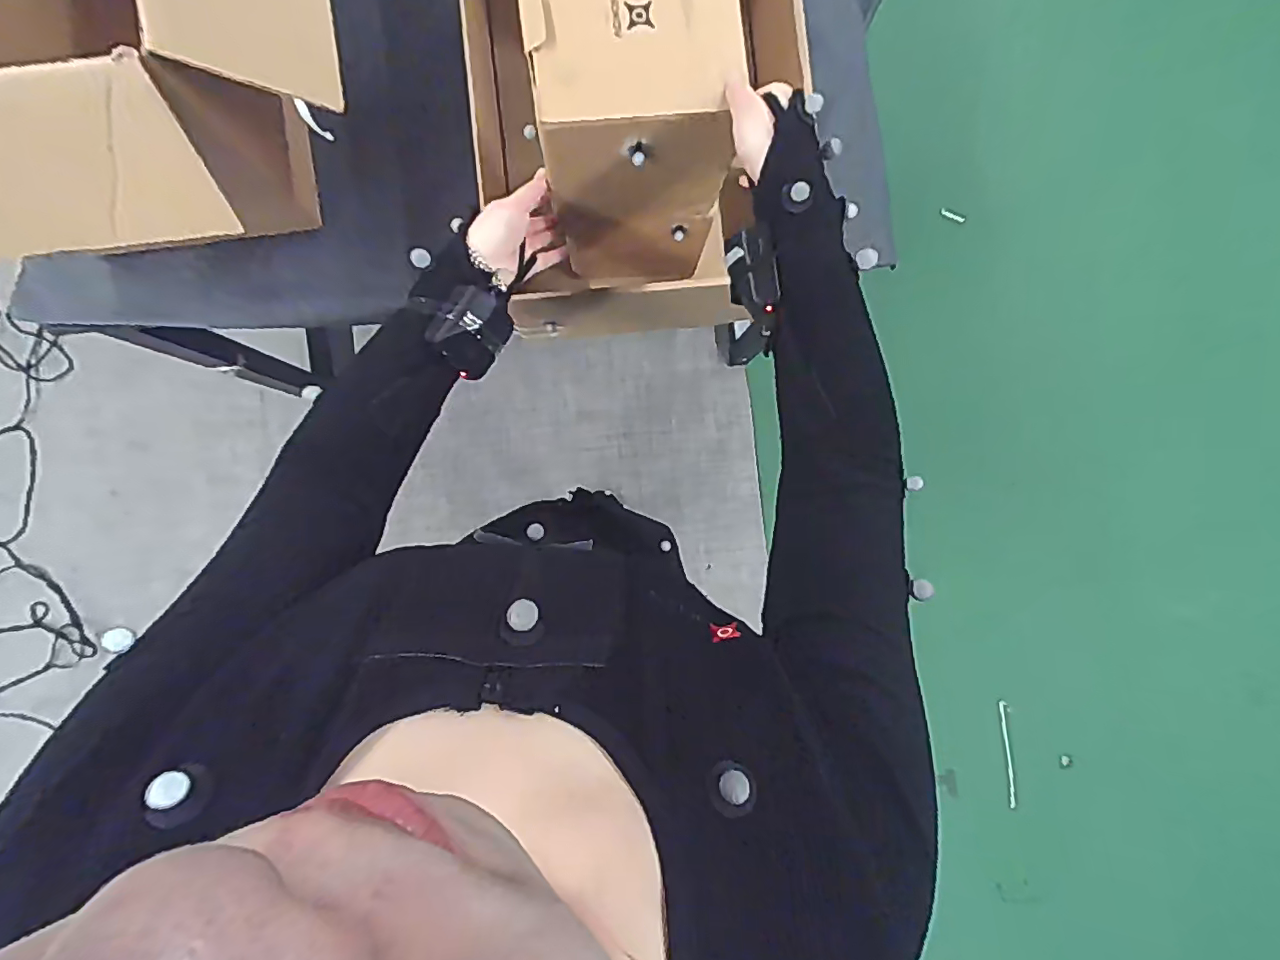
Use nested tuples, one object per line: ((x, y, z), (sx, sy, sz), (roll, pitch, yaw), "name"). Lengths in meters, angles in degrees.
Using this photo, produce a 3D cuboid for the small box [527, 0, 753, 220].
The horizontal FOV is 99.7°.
((-0.006, -0.369, 0.516), (0.179, 0.176, 0.168), (-7, 91, -5), "small box")
